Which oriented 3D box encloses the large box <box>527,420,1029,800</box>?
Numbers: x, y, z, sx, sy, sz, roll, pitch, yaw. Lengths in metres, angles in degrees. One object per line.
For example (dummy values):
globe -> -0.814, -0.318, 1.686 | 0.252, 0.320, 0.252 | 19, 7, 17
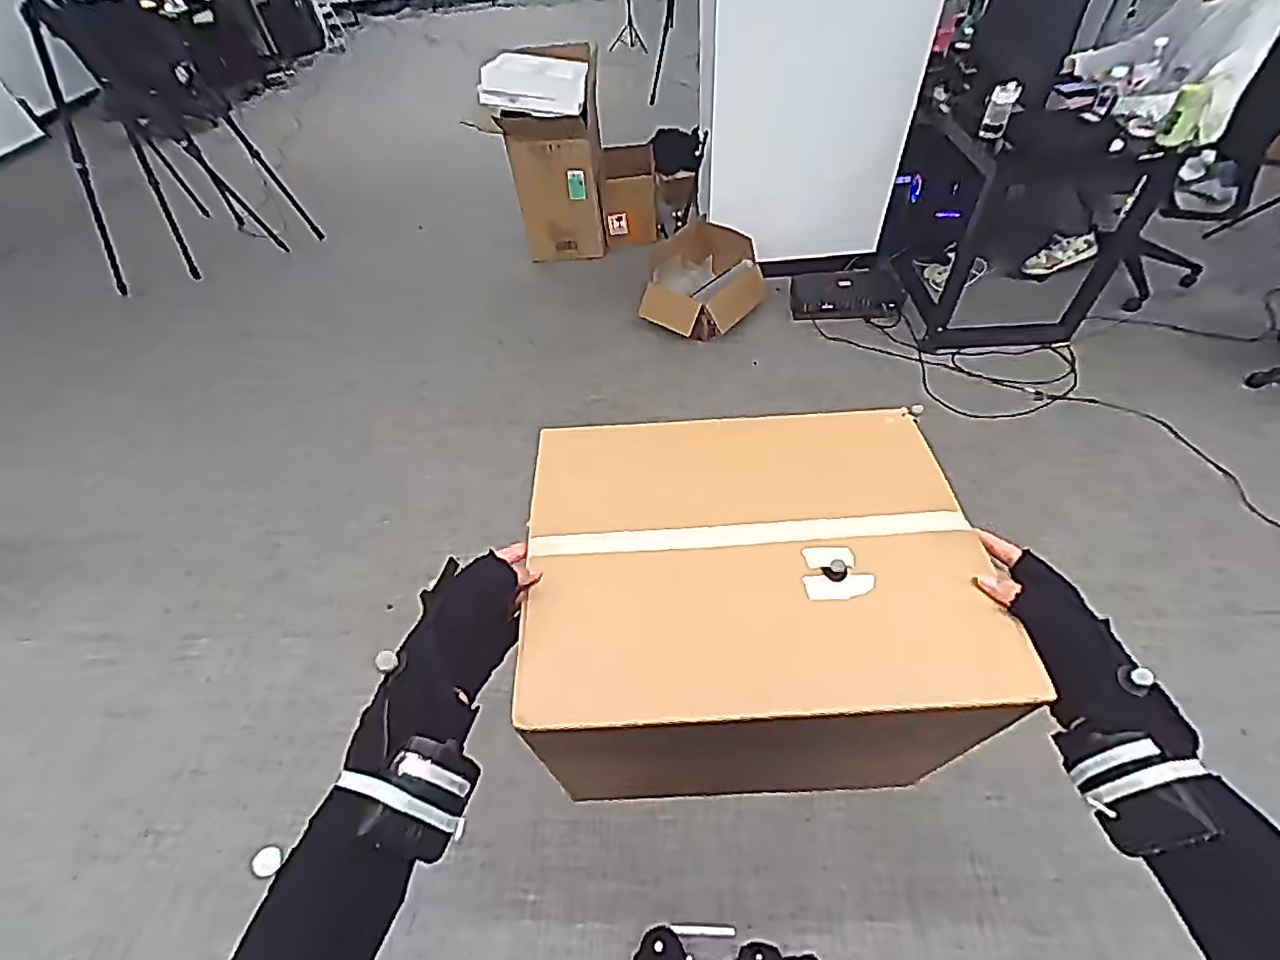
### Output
large box -> 0.104, 0.157, 0.627 | 0.408, 0.320, 0.320 | -3, 51, 0
